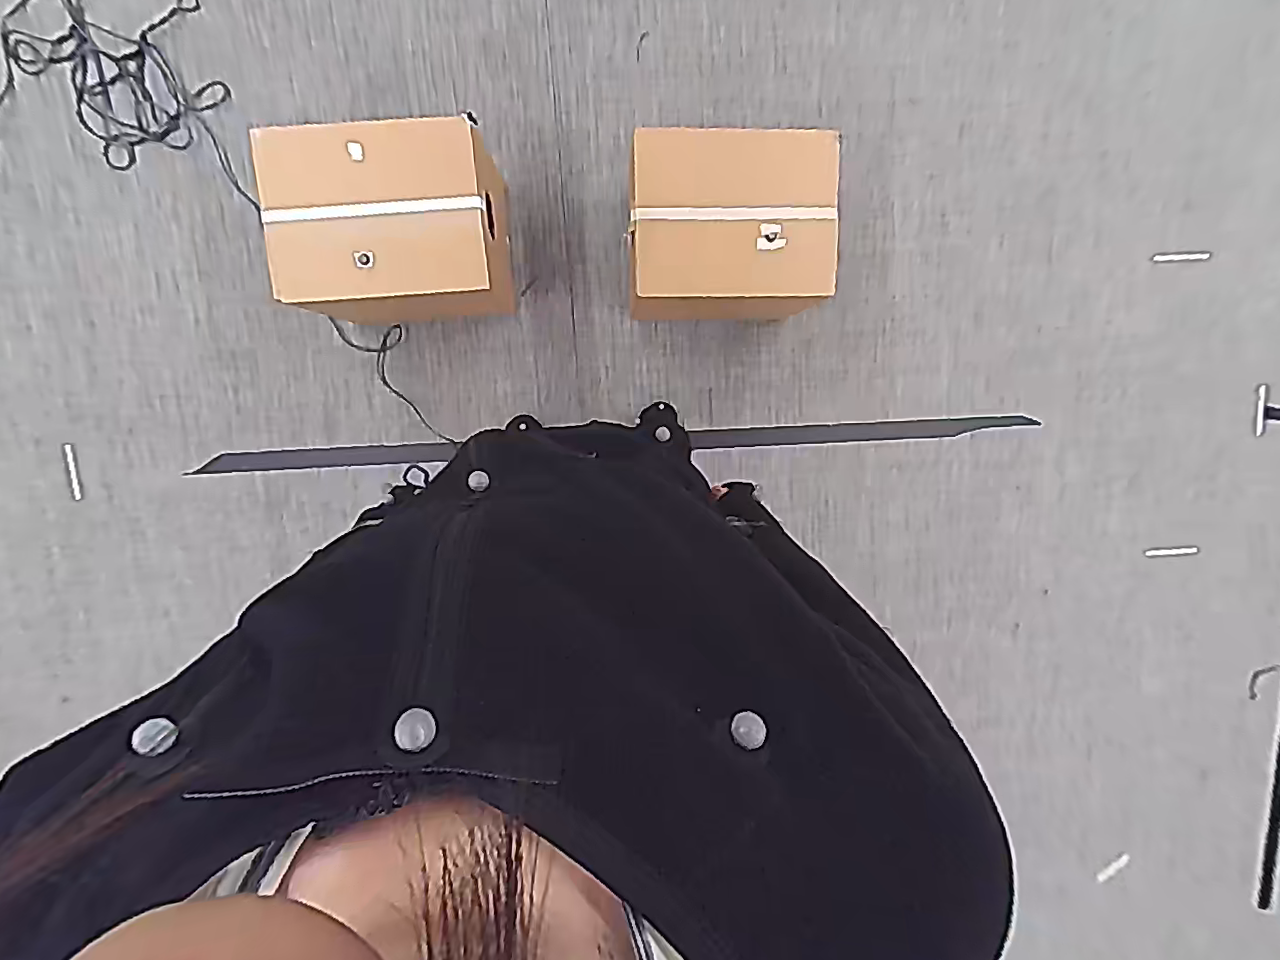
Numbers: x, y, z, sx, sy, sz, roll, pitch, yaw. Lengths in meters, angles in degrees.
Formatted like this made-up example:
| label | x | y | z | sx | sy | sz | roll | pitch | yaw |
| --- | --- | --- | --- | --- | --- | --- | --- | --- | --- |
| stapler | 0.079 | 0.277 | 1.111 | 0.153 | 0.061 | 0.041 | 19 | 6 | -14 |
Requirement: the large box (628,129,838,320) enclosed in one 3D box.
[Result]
| label | x | y | z | sx | sy | sz | roll | pitch | yaw |
| --- | --- | --- | --- | --- | --- | --- | --- | --- | --- |
| large box | 0.183 | -0.545 | 1.215 | 0.408 | 0.320 | 0.320 | -1 | 99 | -4 |
